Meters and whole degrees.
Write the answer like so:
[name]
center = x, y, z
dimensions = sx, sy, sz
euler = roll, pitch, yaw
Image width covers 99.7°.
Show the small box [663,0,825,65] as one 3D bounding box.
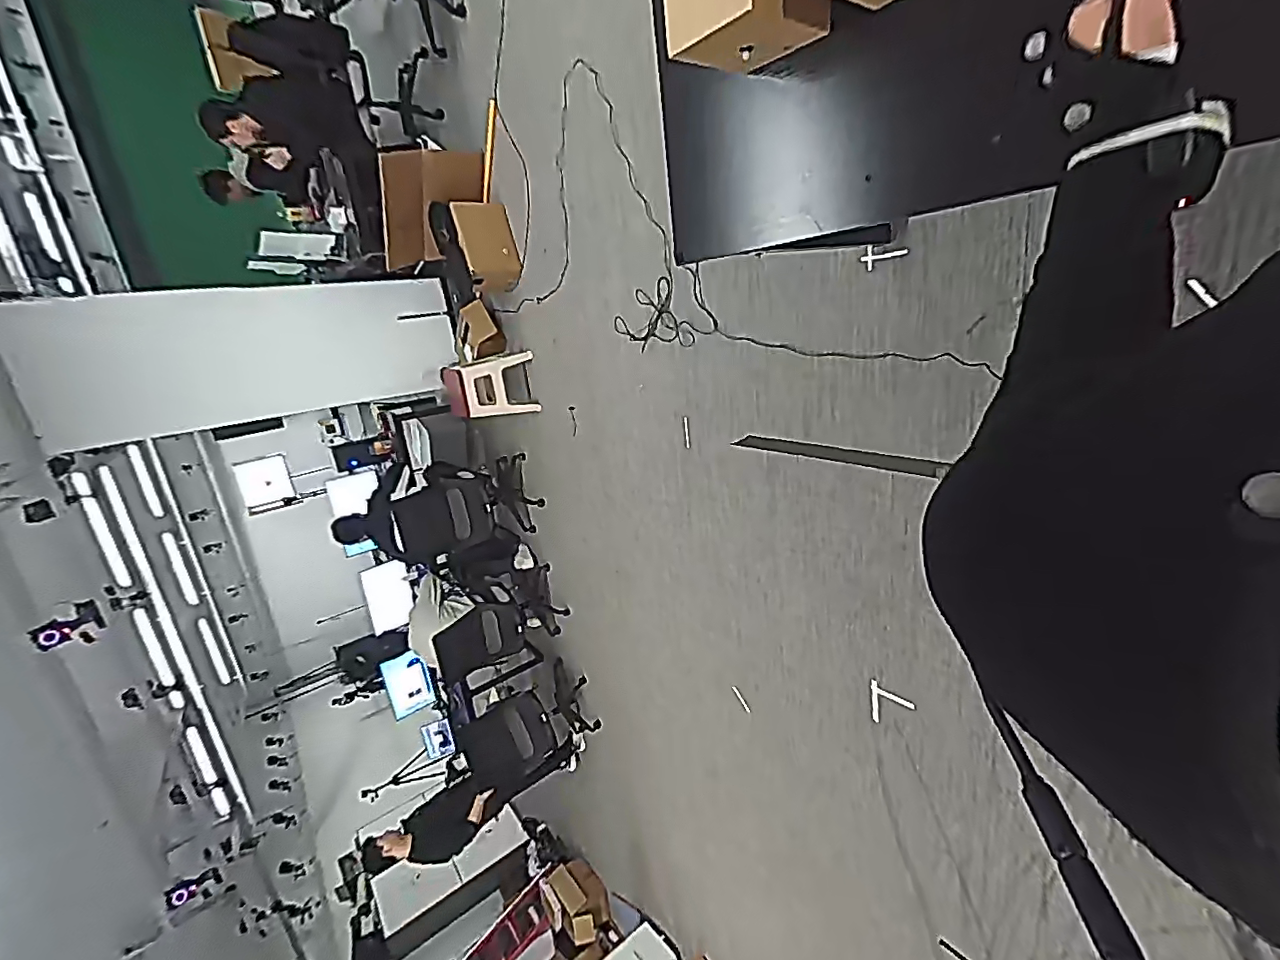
[small box]
center = 0.146, -0.714, 0.757
dimensions = 0.168, 0.176, 0.179
euler = 19, 120, 49
